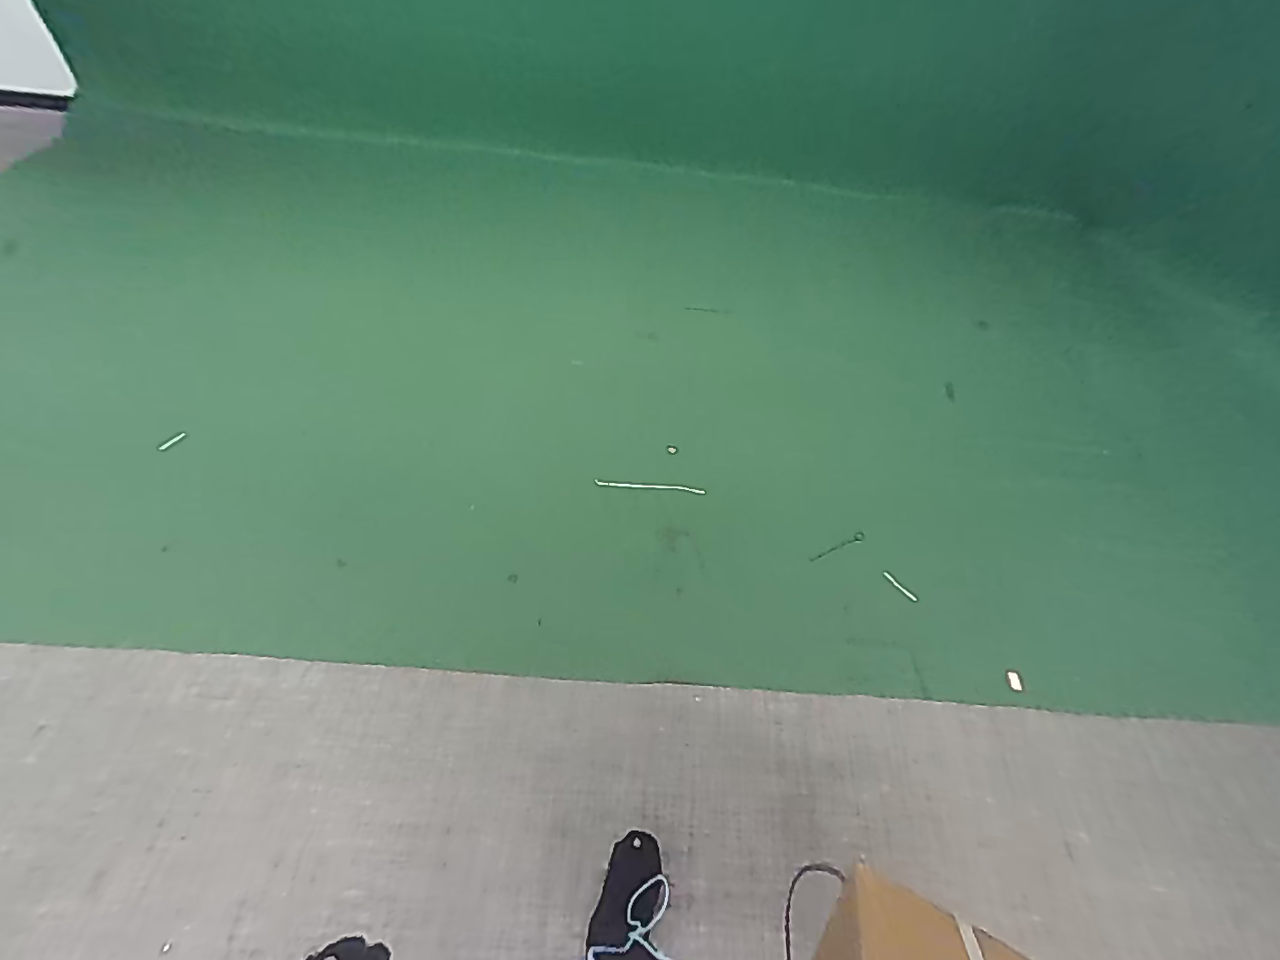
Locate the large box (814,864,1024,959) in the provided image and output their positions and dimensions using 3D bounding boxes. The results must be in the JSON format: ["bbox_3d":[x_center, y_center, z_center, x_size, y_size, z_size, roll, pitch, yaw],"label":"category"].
[{"bbox_3d":[0.353,0.780,0.621,0.320,0.408,0.320,24,93,19],"label":"large box"}]
